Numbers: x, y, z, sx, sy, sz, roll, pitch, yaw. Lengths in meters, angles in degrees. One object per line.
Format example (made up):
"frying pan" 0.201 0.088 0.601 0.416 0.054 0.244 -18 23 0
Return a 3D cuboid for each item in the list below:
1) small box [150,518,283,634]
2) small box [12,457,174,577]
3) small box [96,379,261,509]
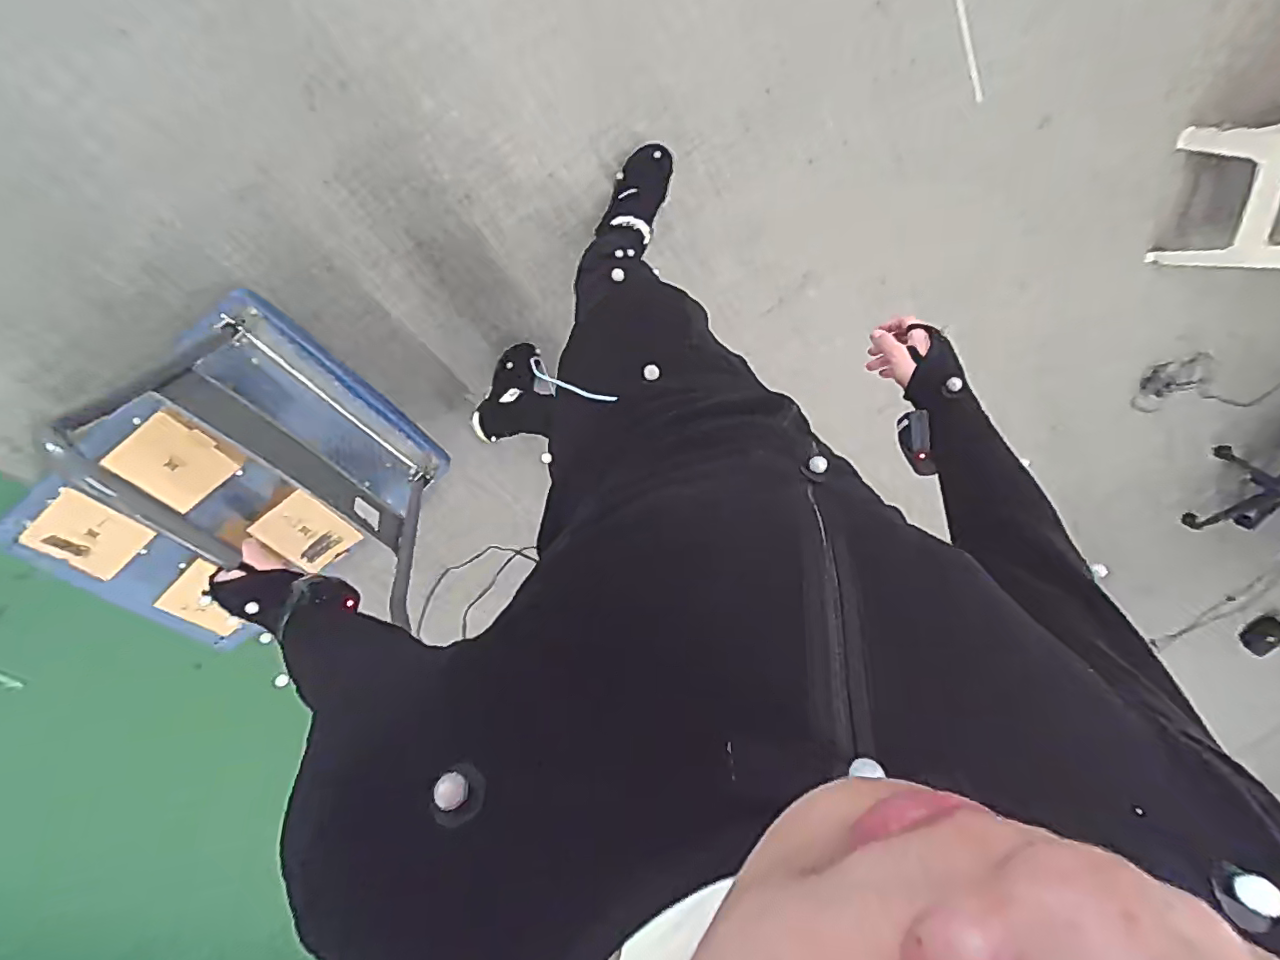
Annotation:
"small box" -0.995 0.224 1.294 0.179 0.176 0.168 -40 121 10
"small box" -1.142 0.065 1.158 0.179 0.176 0.168 -39 123 8
"small box" -0.943 -0.080 1.128 0.179 0.176 0.168 -36 123 6
